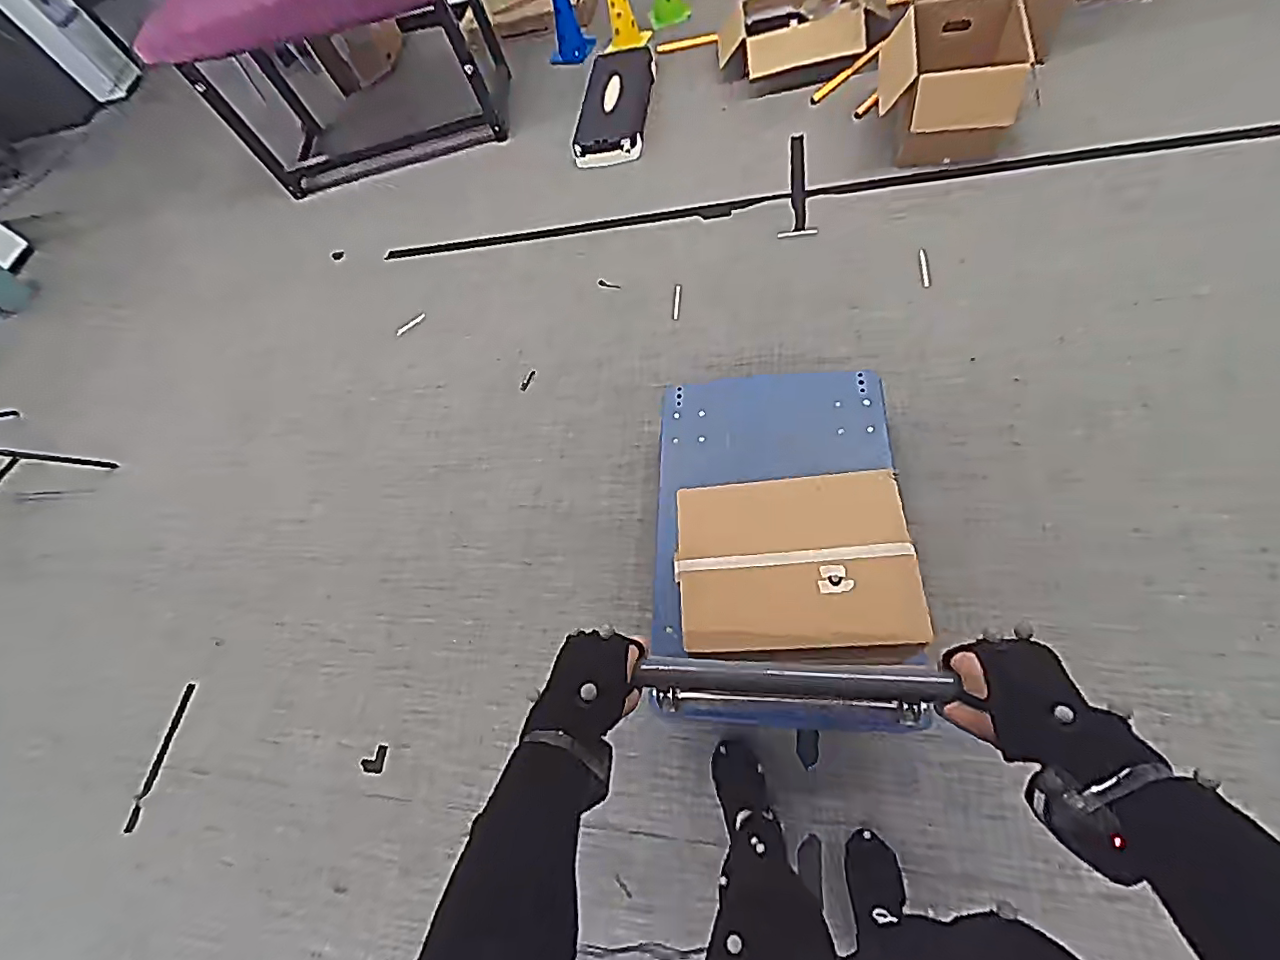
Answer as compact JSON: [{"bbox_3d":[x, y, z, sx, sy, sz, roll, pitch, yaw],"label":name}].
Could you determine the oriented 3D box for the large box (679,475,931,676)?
[{"bbox_3d":[0.302,0.212,1.097,0.408,0.320,0.320,-5,64,10],"label":"large box"}]
